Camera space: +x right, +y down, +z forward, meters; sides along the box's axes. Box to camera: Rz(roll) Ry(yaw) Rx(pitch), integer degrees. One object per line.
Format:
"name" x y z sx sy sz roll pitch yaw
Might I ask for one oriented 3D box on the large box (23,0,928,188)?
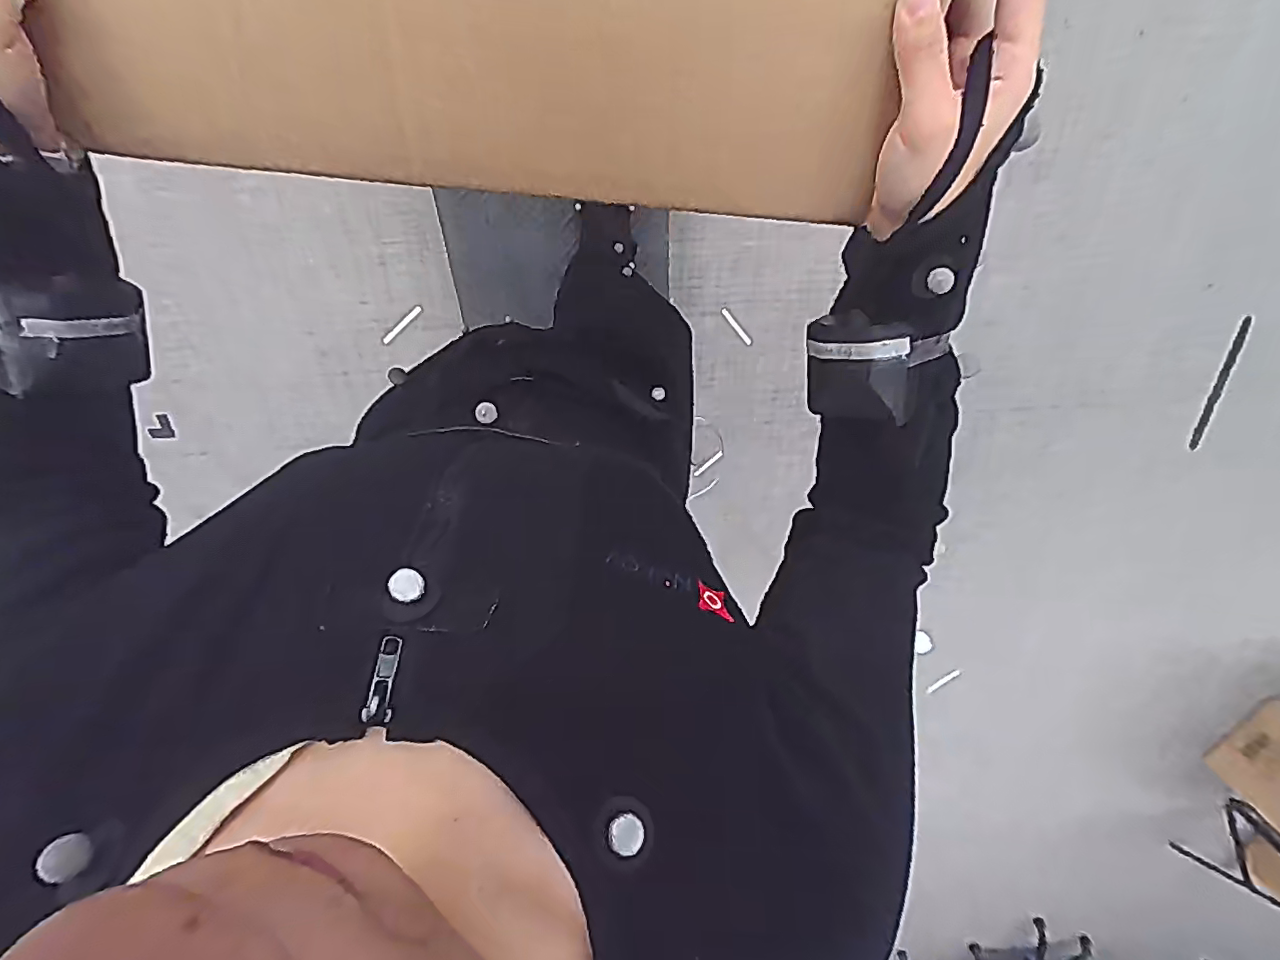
"large box" -0.066 -0.379 0.290 0.408 0.320 0.320 2 133 -5
